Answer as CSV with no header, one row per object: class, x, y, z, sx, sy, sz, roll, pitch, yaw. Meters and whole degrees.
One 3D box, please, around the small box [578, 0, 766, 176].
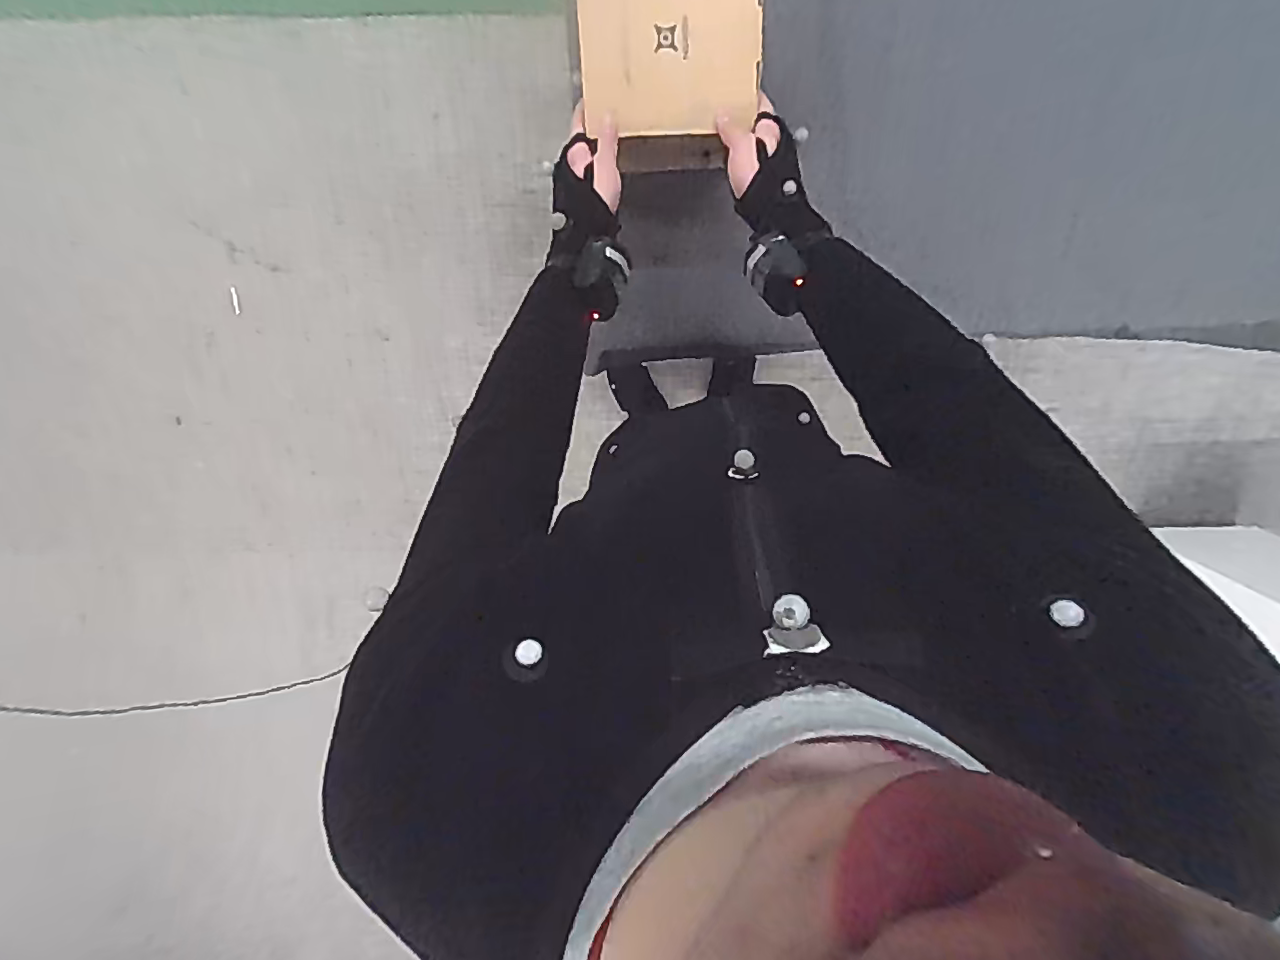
small box,0.027,-0.438,0.581,0.179,0.176,0.168,-3,108,-1
